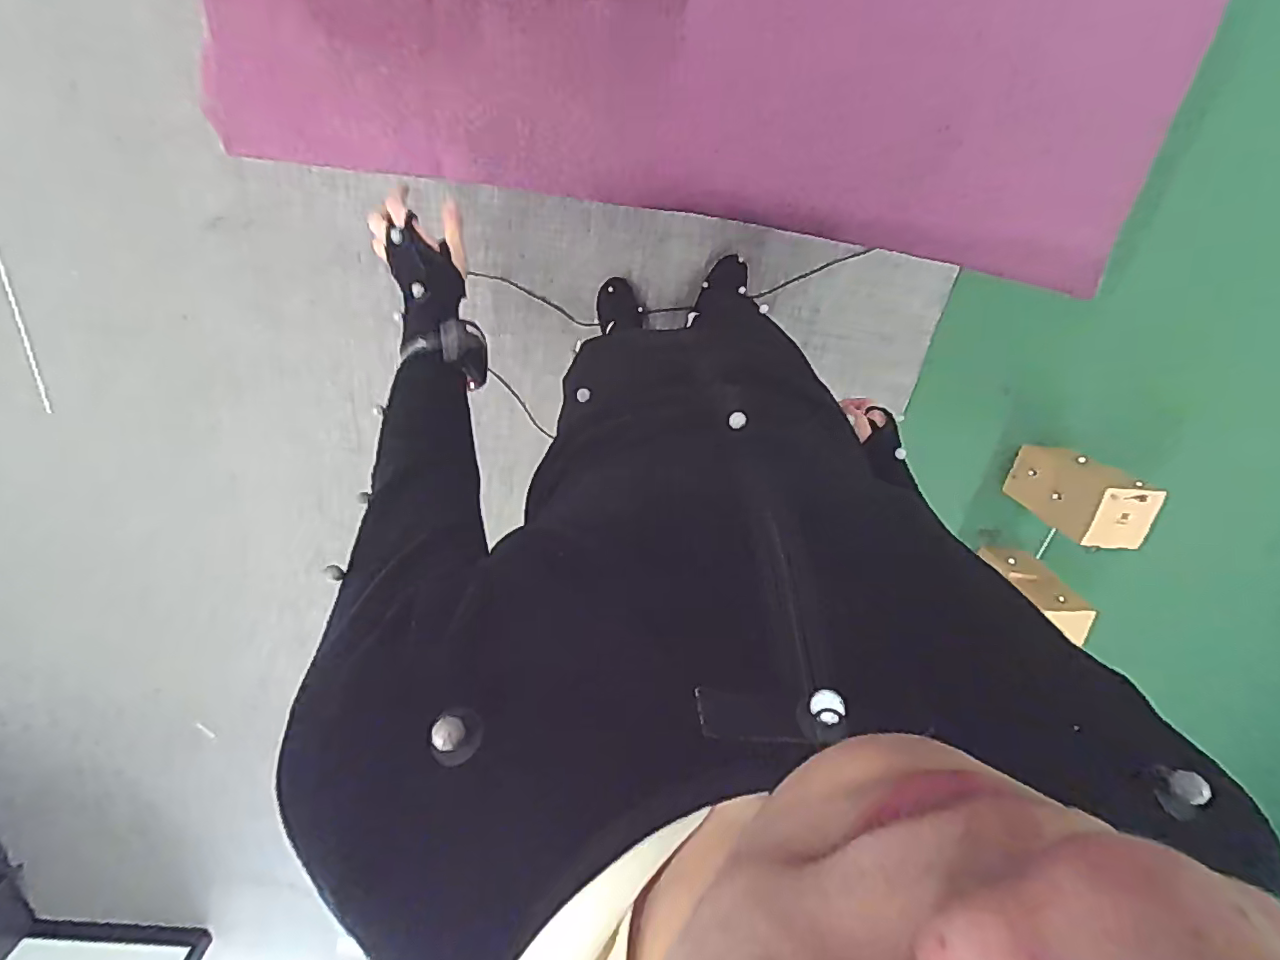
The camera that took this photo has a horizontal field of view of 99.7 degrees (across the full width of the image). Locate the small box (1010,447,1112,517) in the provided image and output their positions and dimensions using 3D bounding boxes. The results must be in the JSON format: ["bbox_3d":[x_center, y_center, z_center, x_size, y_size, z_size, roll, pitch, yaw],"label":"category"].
[{"bbox_3d":[1.270,0.009,1.630,0.179,0.176,0.168,6,115,-4],"label":"small box"}]

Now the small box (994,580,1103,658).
[{"bbox_3d":[1.228,0.418,1.639,0.179,0.176,0.168,0,115,1],"label":"small box"}]

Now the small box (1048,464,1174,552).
[{"bbox_3d":[1.272,0.075,1.479,0.168,0.176,0.179,4,115,-3],"label":"small box"}]
